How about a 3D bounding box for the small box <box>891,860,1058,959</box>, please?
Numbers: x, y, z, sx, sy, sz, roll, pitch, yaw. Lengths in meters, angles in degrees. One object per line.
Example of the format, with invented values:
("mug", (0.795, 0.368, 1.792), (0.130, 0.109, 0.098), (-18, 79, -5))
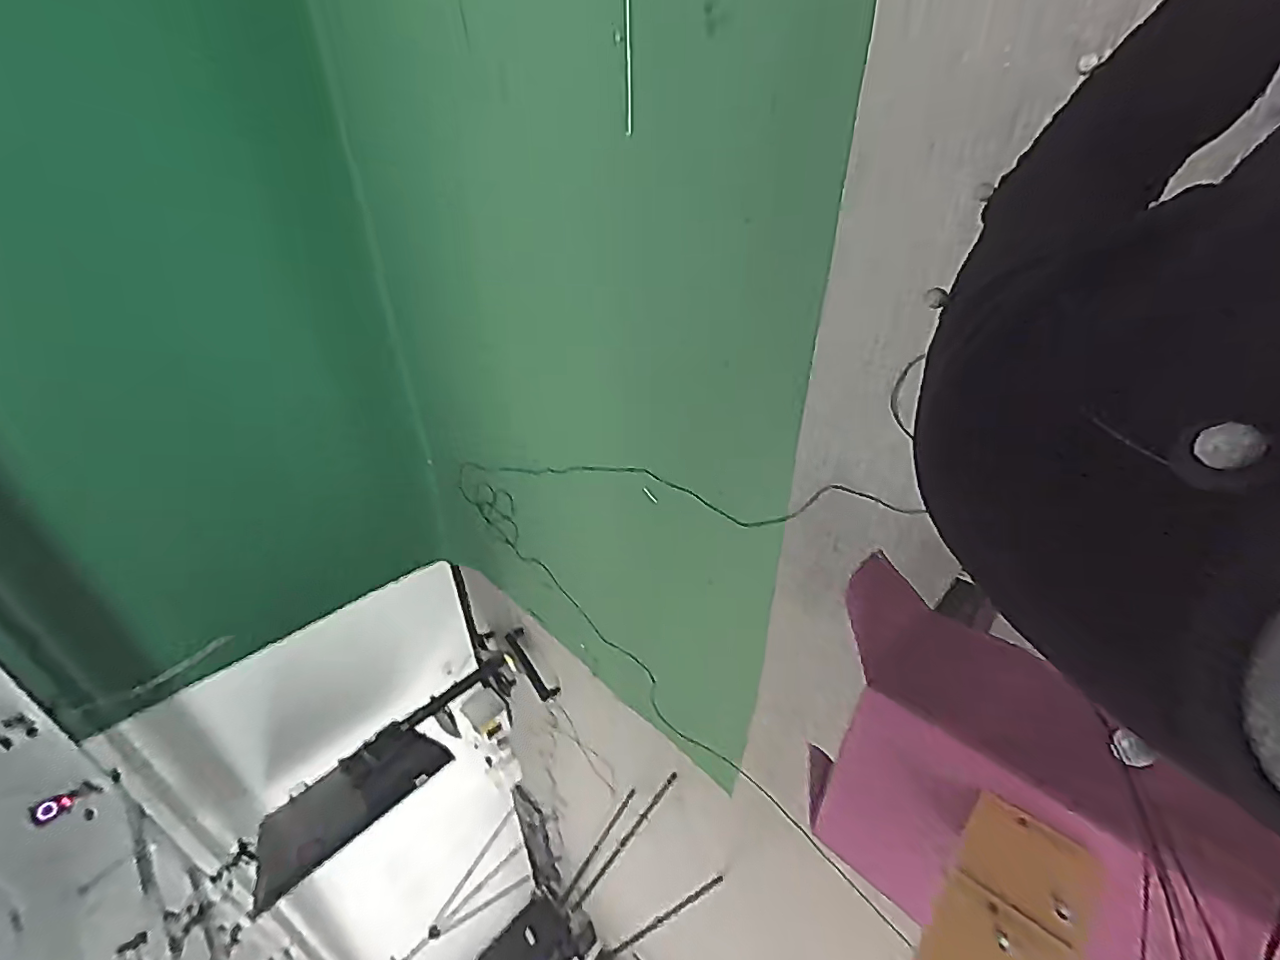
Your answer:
("small box", (0.479, 0.720, 0.794), (0.168, 0.176, 0.179), (24, 131, 38))
